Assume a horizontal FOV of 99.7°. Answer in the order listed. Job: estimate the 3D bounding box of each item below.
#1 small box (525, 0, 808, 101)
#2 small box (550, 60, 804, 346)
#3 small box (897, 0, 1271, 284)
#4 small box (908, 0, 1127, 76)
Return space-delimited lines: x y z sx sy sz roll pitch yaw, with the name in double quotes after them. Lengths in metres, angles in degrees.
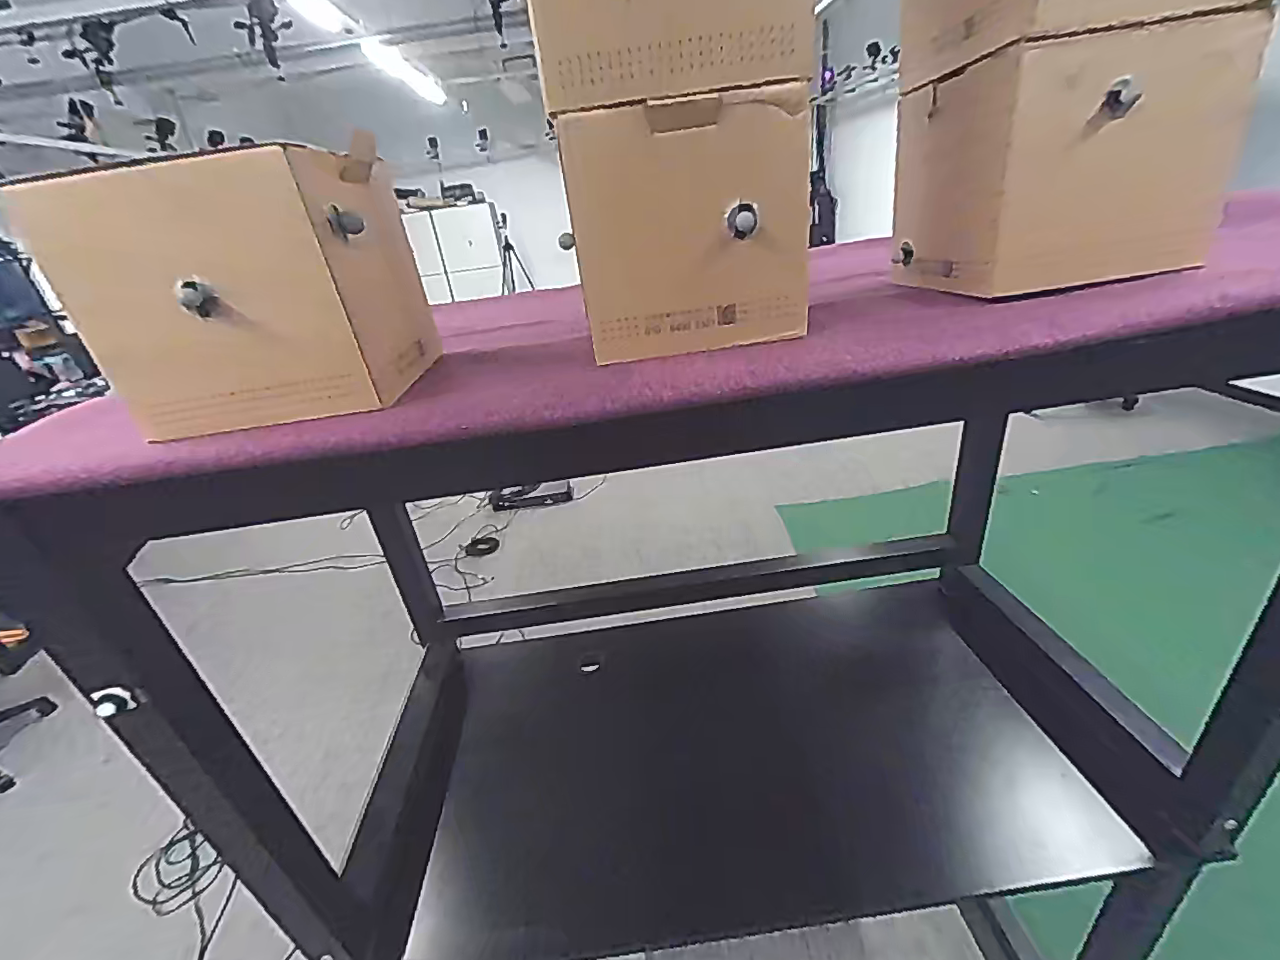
0.010 -0.359 0.372 0.179 0.176 0.168 -7 28 1 "small box"
0.030 -0.213 0.446 0.168 0.176 0.179 -7 26 1 "small box"
0.338 -0.266 0.454 0.179 0.176 0.168 -9 25 -1 "small box"
0.314 -0.414 0.390 0.179 0.176 0.168 -9 25 0 "small box"
